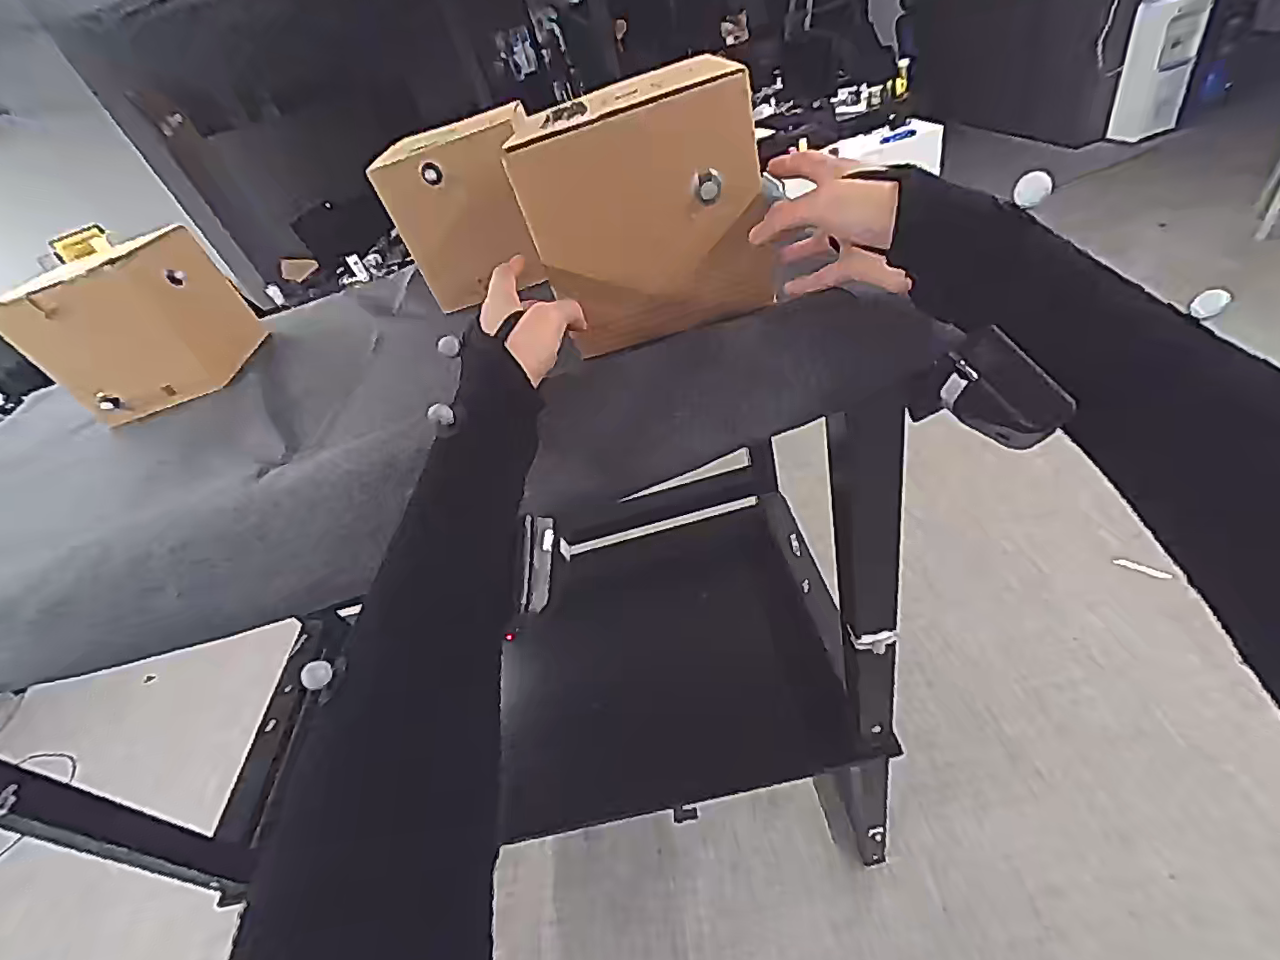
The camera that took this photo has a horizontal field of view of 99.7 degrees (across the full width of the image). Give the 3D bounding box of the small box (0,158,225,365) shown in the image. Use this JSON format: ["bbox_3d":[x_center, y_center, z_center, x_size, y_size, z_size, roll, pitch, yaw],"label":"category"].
[{"bbox_3d":[-0.664,-0.260,0.660,0.168,0.176,0.179,-18,41,2],"label":"small box"}]

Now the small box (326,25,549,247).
[{"bbox_3d":[-0.213,-0.394,0.627,0.168,0.176,0.179,-16,40,5],"label":"small box"}]
